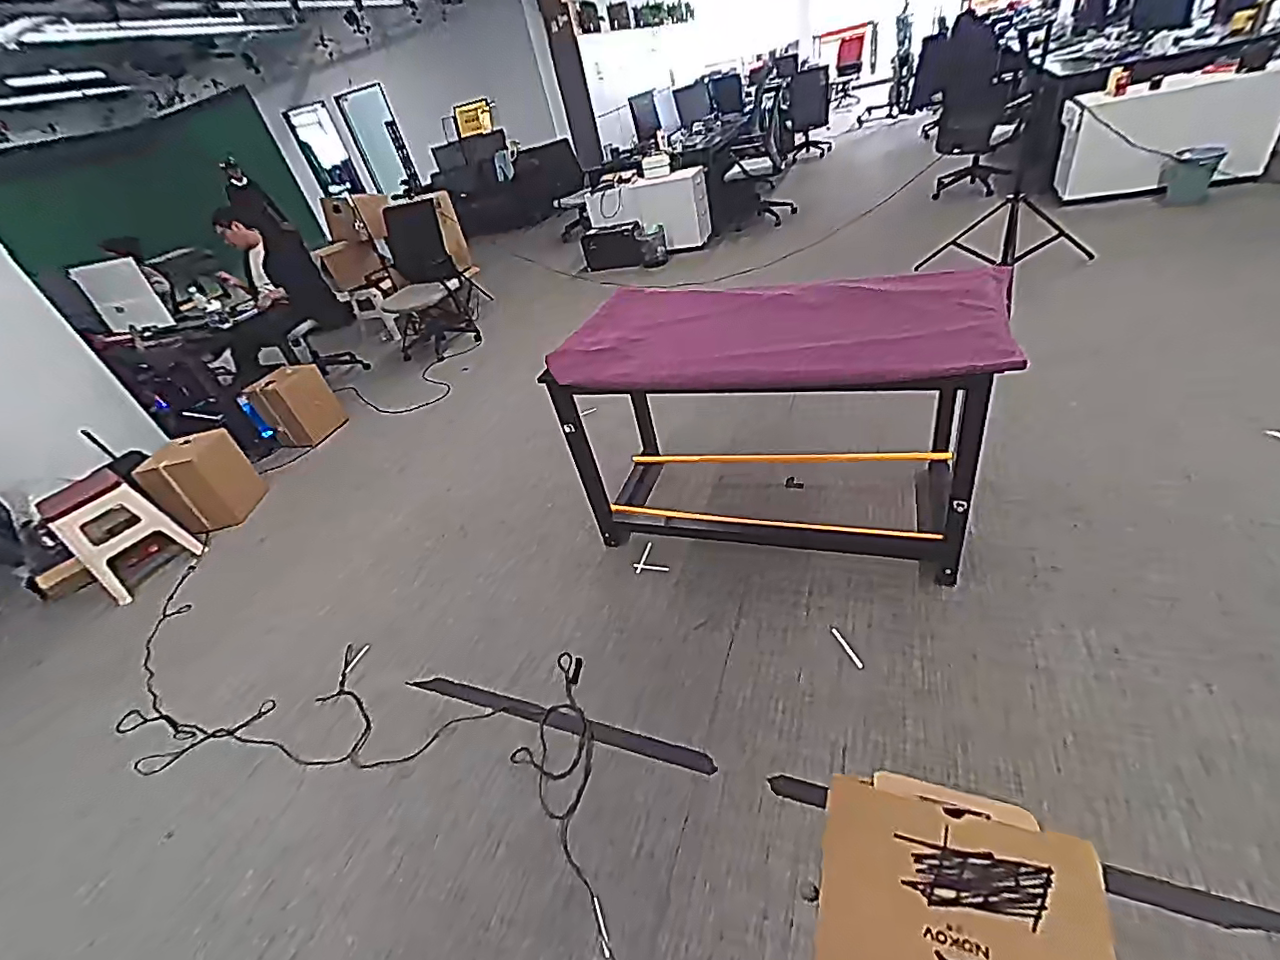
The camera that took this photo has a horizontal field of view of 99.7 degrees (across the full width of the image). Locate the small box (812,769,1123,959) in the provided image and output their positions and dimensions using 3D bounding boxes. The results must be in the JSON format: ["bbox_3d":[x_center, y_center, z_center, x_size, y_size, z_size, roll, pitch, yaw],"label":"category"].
[{"bbox_3d":[0.214,0.341,0.387,0.168,0.176,0.179,5,52,22],"label":"small box"}]
